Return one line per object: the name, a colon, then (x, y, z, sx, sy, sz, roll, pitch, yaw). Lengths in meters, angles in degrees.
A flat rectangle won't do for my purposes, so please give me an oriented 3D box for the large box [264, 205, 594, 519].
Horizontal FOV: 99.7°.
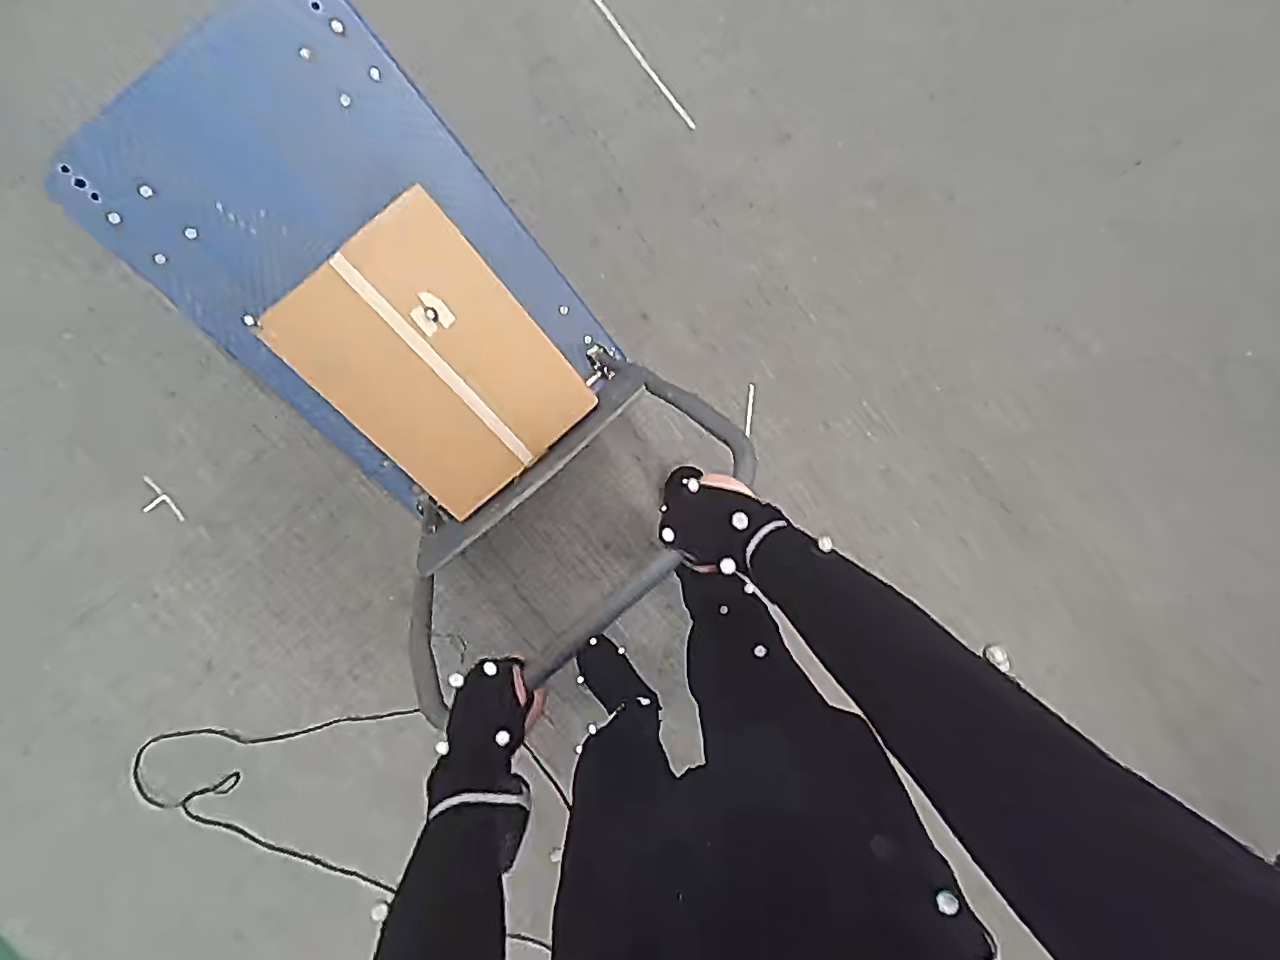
large box: (-0.344, -0.206, 0.990, 0.320, 0.320, 0.408, -42, 112, 0)
